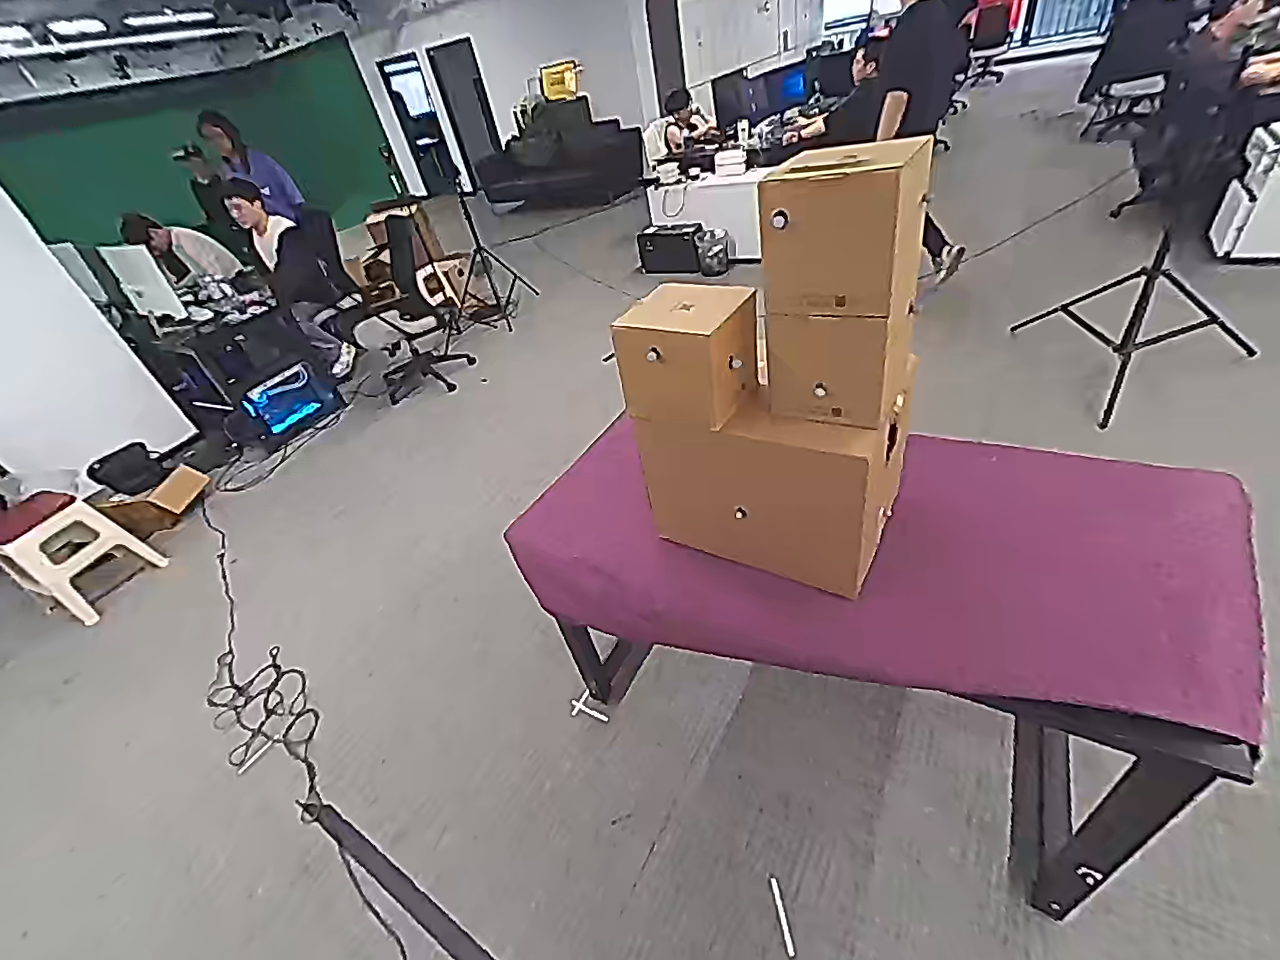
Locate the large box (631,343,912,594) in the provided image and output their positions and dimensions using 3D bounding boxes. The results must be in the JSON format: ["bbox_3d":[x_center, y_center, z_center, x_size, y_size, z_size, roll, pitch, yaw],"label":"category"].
[{"bbox_3d":[0.254,-0.041,1.017,0.408,0.320,0.320,13,43,31],"label":"large box"}]

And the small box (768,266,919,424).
[{"bbox_3d":[0.303,-0.207,0.809,0.168,0.176,0.179,13,44,32],"label":"small box"}]
